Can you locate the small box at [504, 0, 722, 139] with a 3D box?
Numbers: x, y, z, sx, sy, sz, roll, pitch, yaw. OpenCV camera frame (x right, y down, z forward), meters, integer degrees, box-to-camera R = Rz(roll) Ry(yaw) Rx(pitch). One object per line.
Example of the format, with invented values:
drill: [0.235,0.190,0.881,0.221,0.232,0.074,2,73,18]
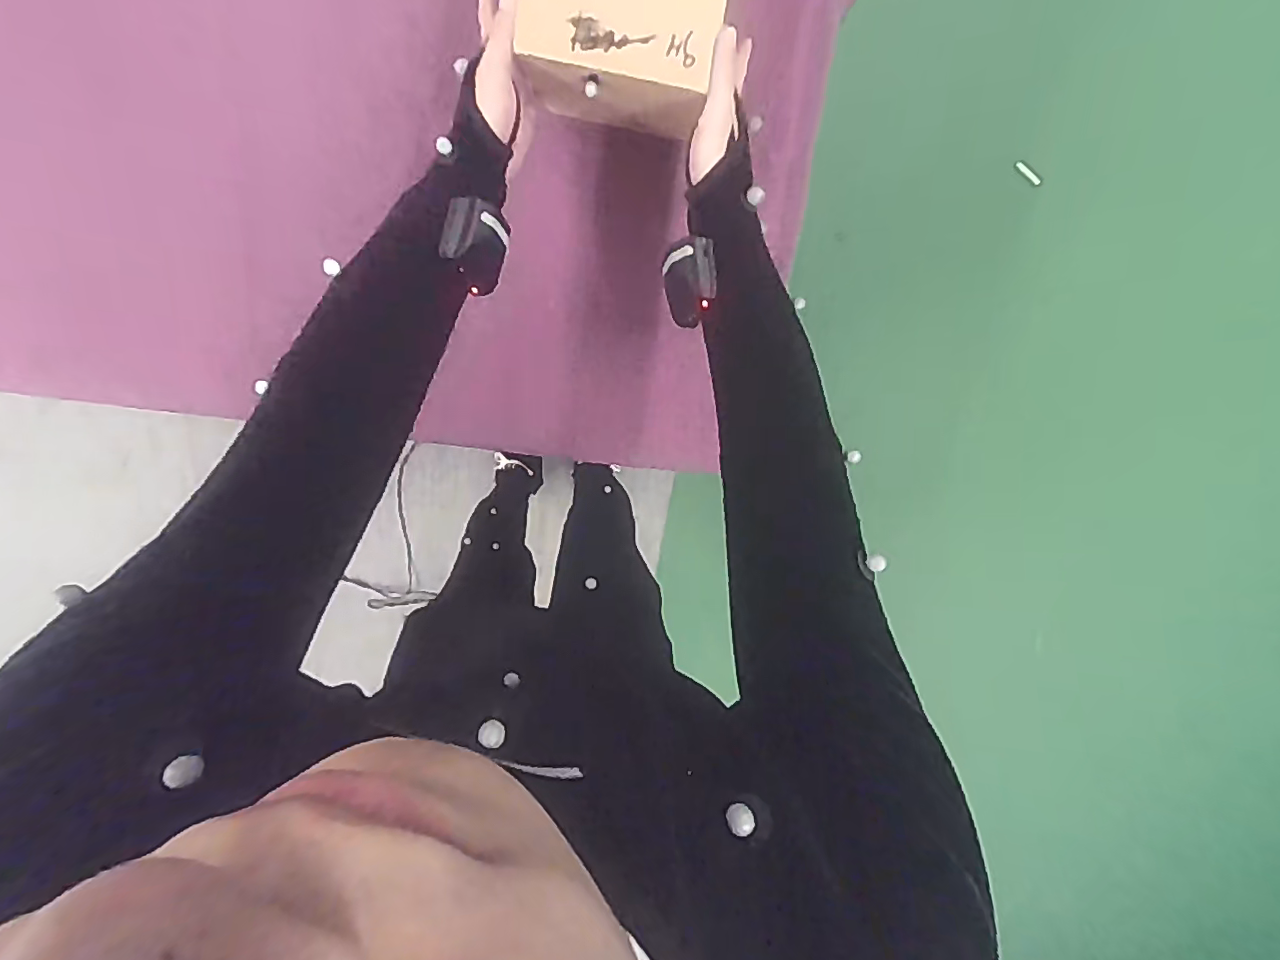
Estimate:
small box: [-0.011,-0.435,0.479,0.168,0.176,0.179,11,110,-2]
